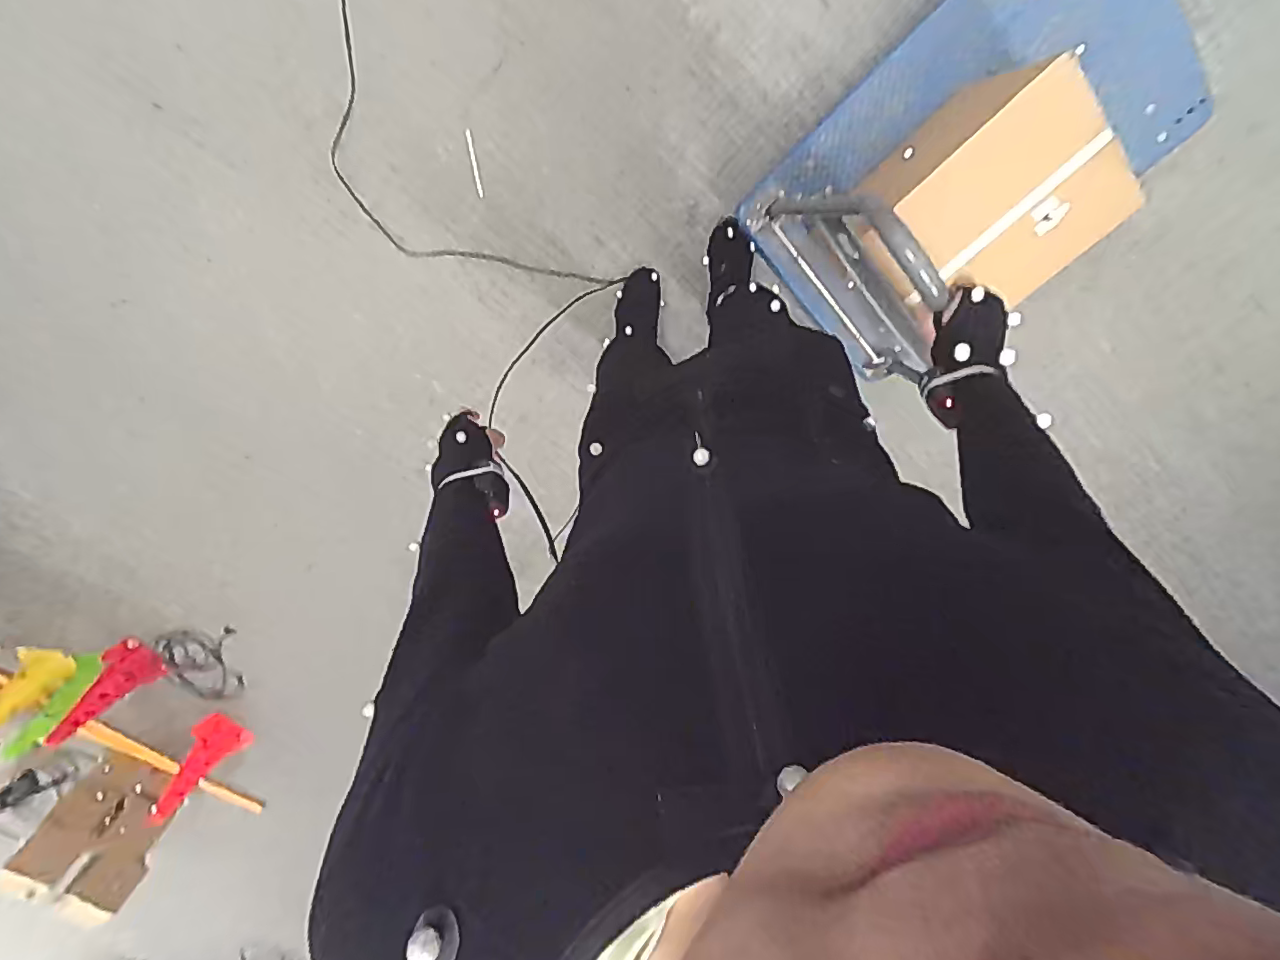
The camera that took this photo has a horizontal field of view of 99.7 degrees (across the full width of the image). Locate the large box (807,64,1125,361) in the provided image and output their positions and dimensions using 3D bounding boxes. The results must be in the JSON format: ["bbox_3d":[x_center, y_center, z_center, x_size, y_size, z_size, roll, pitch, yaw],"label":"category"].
[{"bbox_3d":[0.631,-0.522,1.122,0.408,0.320,0.320,-42,110,17],"label":"large box"}]
